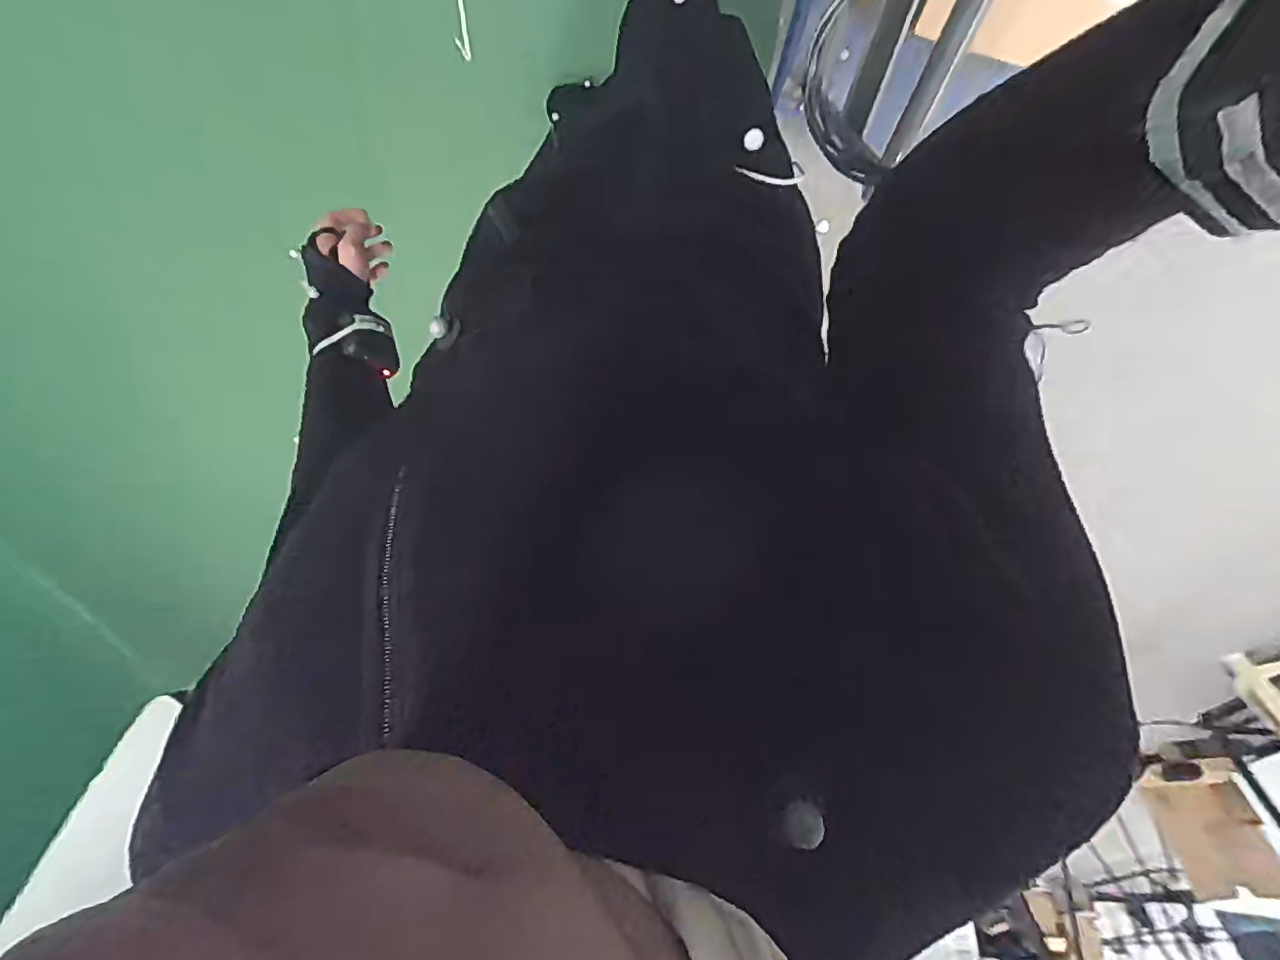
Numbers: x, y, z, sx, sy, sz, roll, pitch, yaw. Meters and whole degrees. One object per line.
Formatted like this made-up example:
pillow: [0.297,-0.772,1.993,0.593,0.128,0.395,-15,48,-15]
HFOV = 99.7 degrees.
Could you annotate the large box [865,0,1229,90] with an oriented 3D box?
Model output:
large box: [0.618,-0.821,0.785,0.408,0.320,0.320,8,135,-8]
